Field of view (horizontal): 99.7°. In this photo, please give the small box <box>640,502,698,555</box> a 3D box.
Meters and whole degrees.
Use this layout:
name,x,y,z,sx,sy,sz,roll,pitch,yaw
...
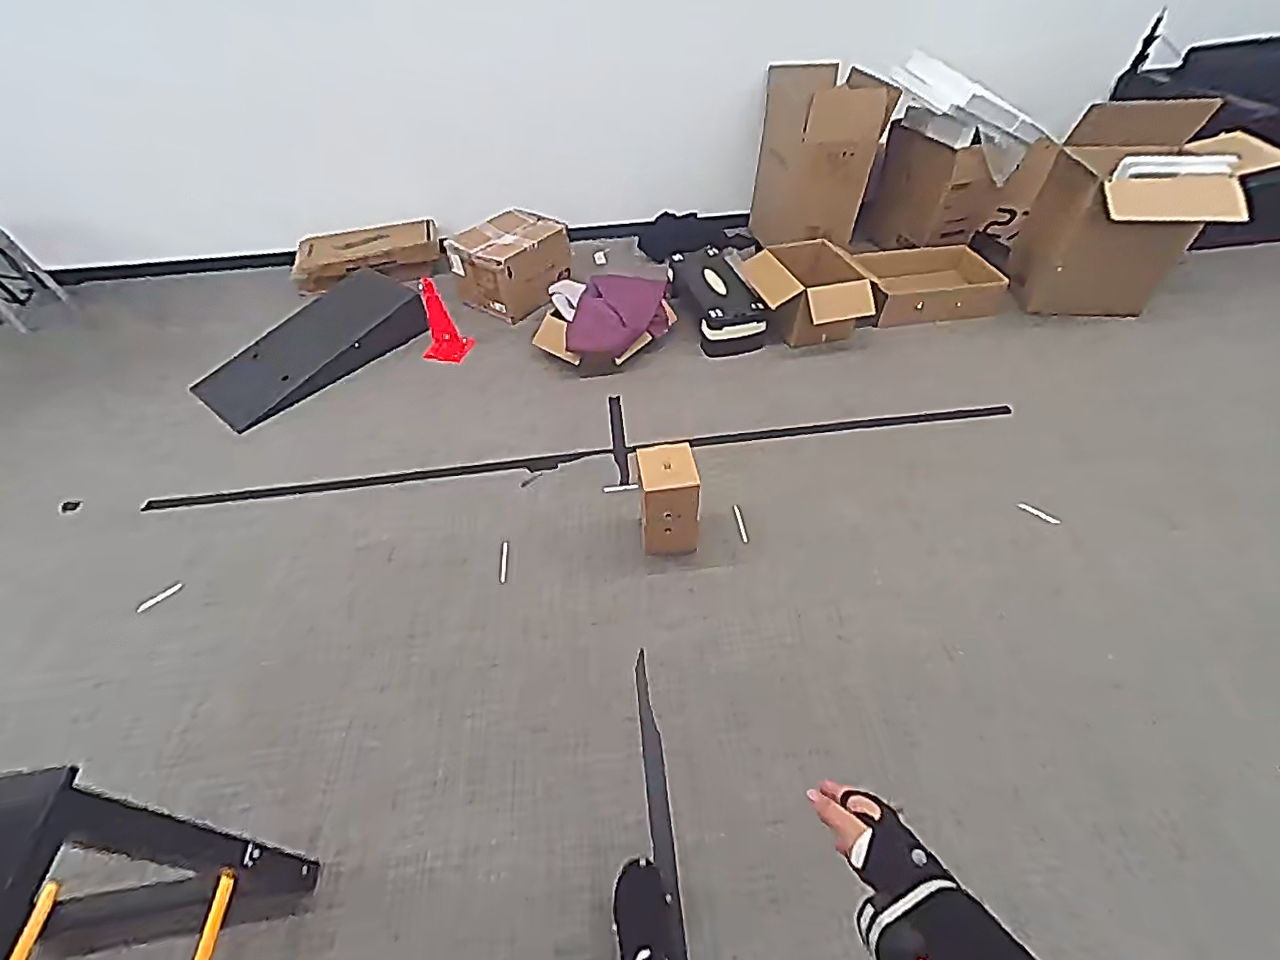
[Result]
name,x,y,z,sx,sy,sz,roll,pitch,yaw
small box,0.091,0.132,1.769,0.179,0.176,0.168,-3,48,-2

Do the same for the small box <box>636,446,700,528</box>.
name,x,y,z,sx,sy,sz,roll,pitch,yaw
small box,0.082,0.022,1.650,0.168,0.176,0.179,-9,49,-4
